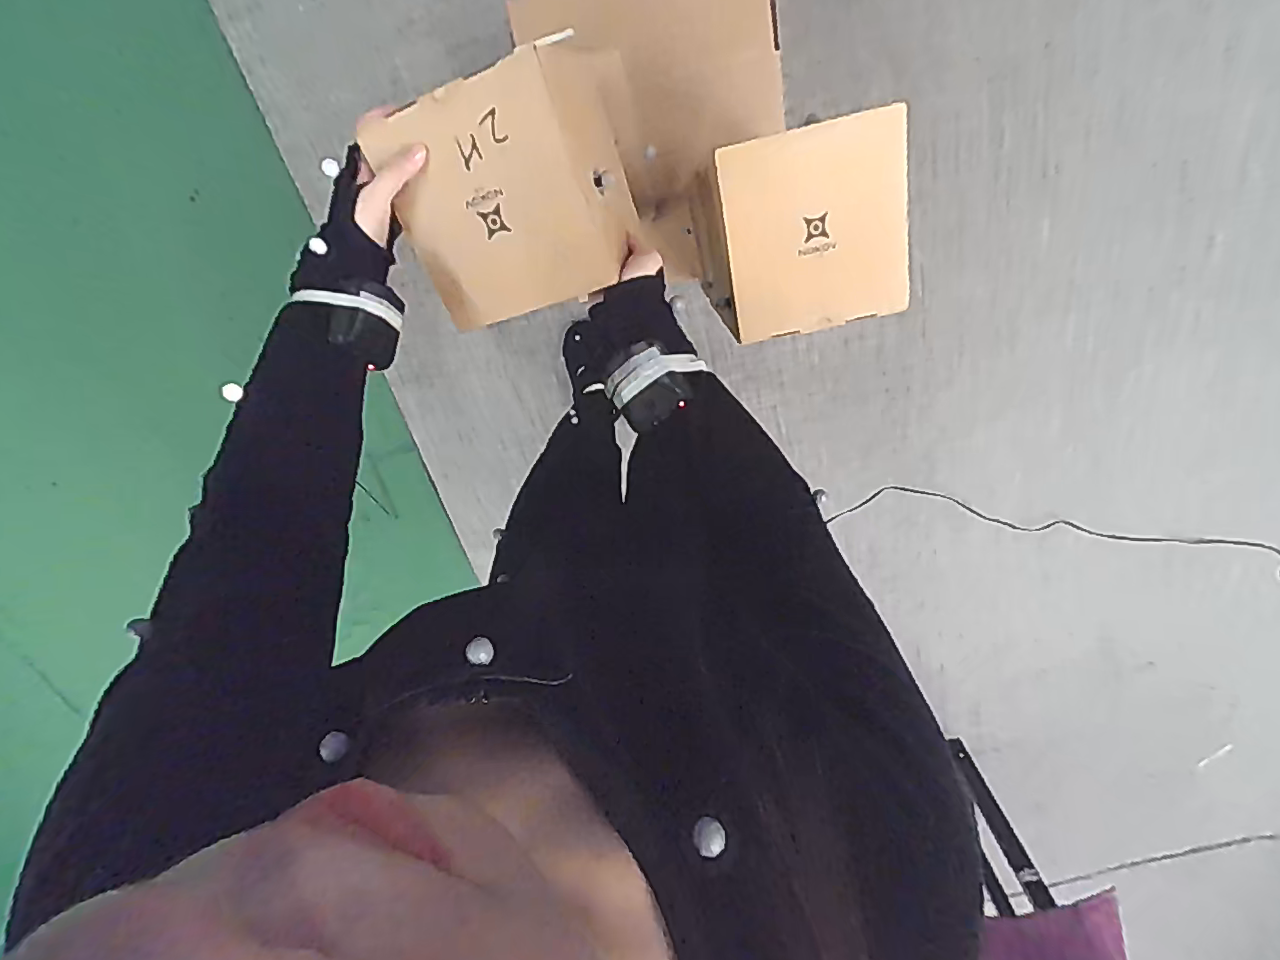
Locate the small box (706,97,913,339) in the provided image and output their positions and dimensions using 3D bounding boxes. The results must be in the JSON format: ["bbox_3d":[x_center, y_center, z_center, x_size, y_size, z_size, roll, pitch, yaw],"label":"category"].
[{"bbox_3d":[0.168,-0.264,0.569,0.168,0.176,0.179,-11,114,7],"label":"small box"}]

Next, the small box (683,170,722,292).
[{"bbox_3d":[0.171,-0.412,0.862,0.179,0.176,0.168,-12,113,9],"label":"small box"}]

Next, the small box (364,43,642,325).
[{"bbox_3d":[-0.106,-0.276,0.512,0.168,0.176,0.179,-11,123,17],"label":"small box"}]

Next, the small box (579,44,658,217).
[{"bbox_3d":[-0.080,-0.409,0.689,0.179,0.176,0.168,-11,114,9],"label":"small box"}]
